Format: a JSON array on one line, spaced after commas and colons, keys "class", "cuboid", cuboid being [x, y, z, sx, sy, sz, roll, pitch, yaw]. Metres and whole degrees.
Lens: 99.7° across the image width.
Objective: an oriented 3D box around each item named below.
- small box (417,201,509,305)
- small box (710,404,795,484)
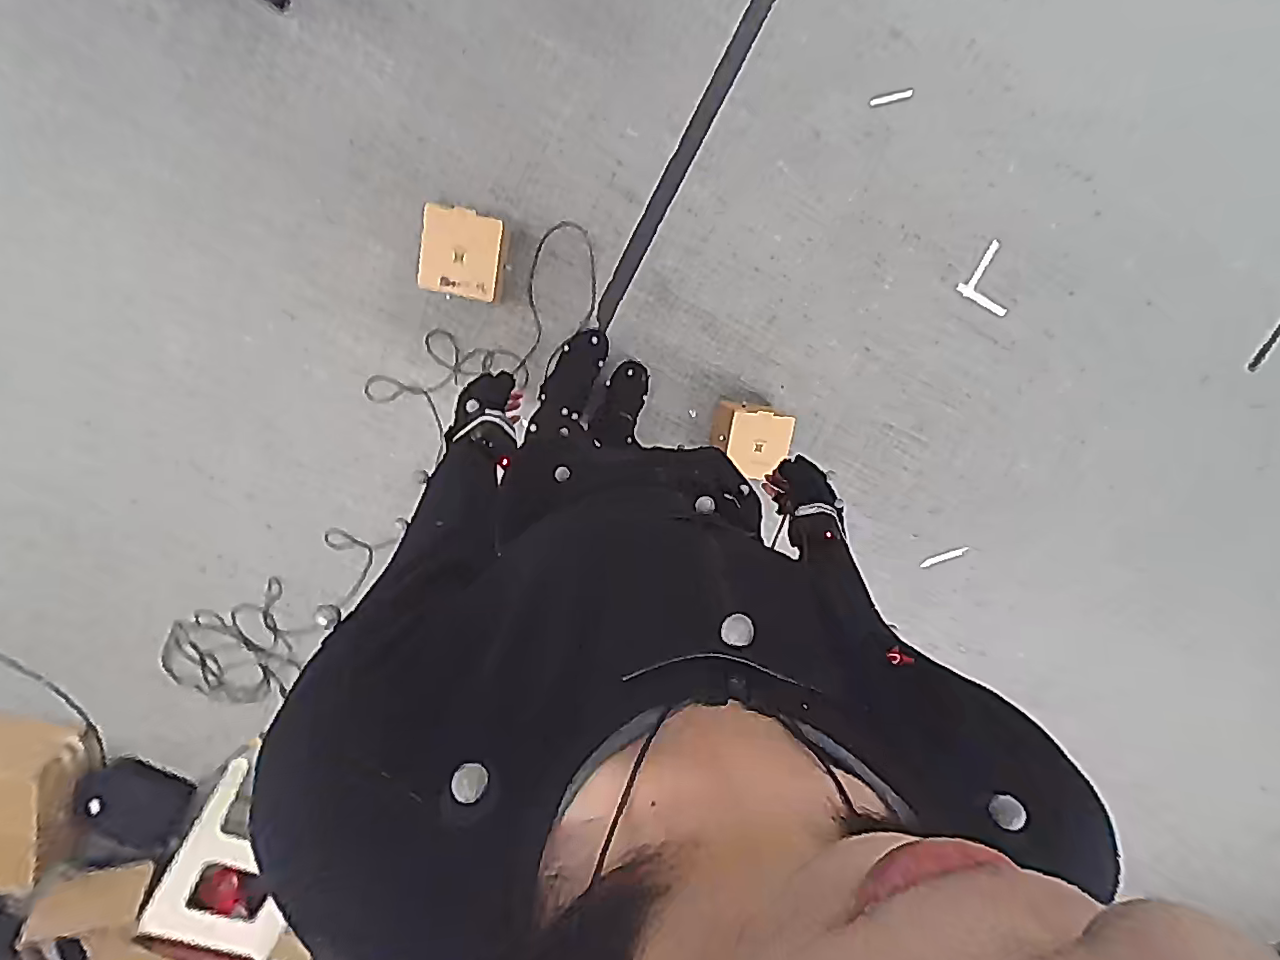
[{"class": "small box", "cuboid": [-0.400, -0.513, 1.248, 0.168, 0.176, 0.179, 10, 104, -10]}, {"class": "small box", "cuboid": [0.296, -0.103, 1.458, 0.168, 0.176, 0.179, 6, 106, -8]}]
